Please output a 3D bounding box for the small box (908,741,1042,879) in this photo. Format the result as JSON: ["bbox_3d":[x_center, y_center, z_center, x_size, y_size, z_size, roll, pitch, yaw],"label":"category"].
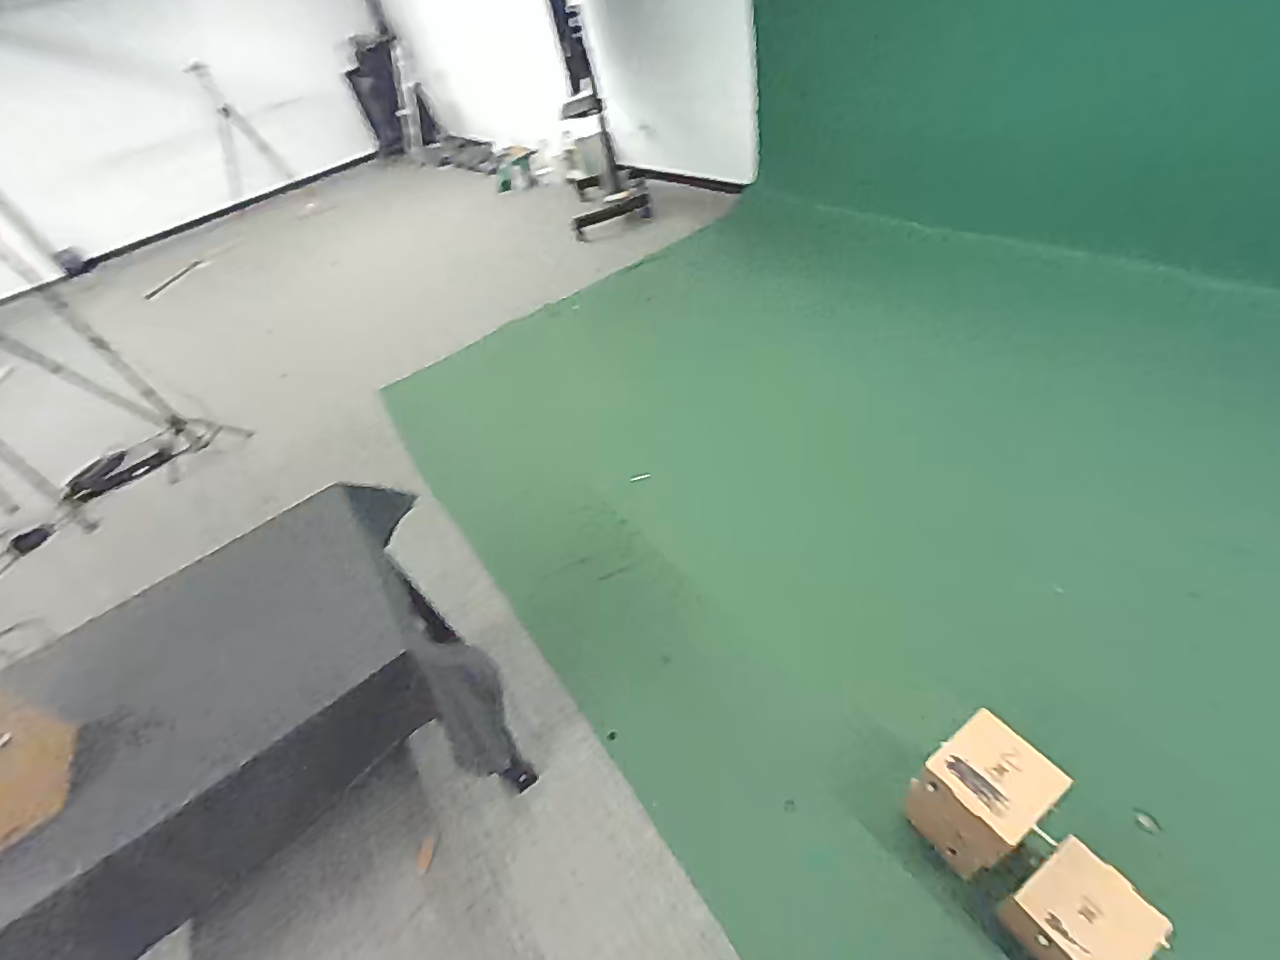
[{"bbox_3d":[0.697,0.704,1.149,0.179,0.176,0.168,-30,45,-14],"label":"small box"}]
